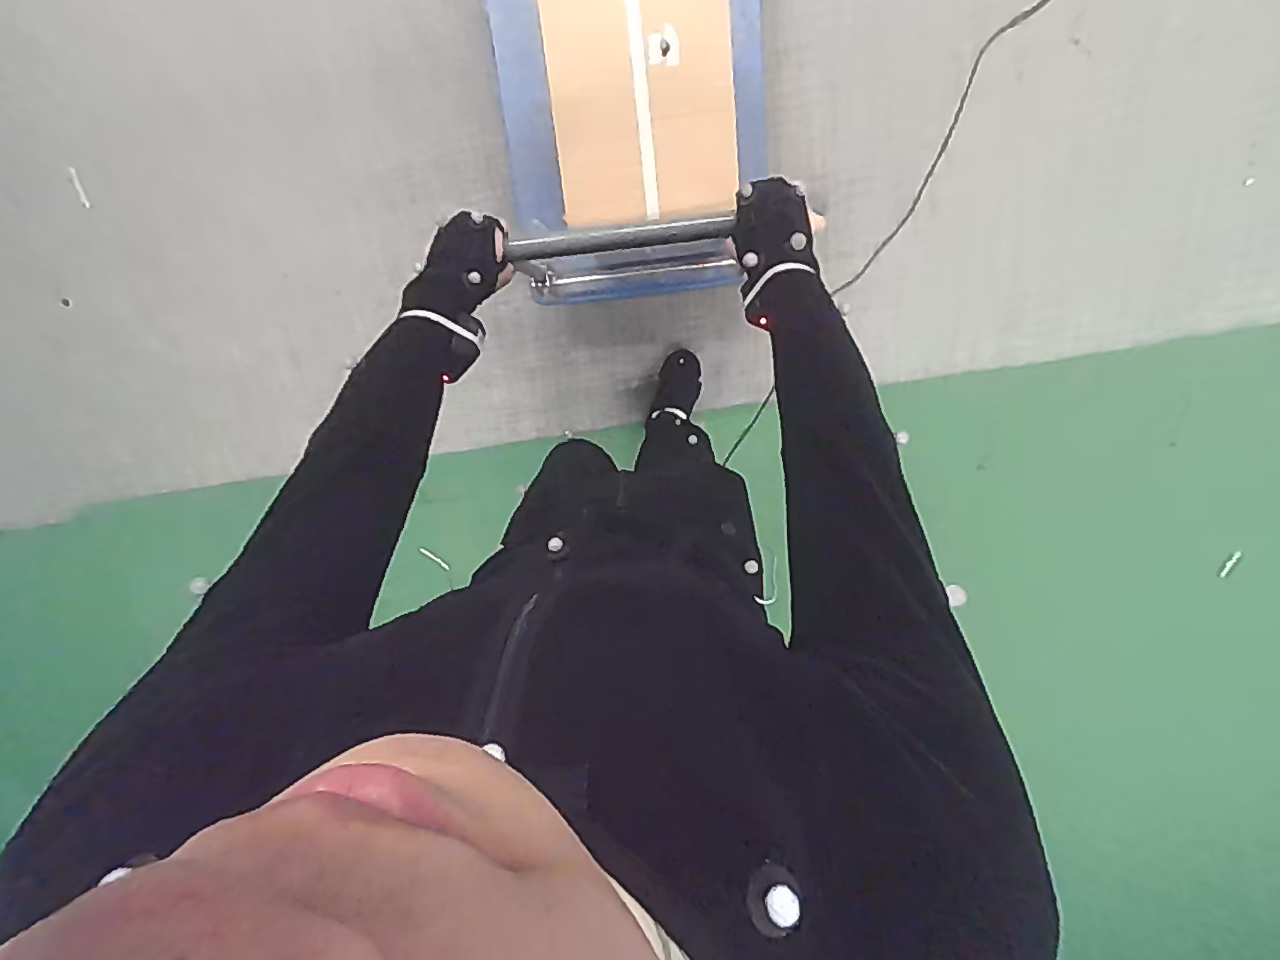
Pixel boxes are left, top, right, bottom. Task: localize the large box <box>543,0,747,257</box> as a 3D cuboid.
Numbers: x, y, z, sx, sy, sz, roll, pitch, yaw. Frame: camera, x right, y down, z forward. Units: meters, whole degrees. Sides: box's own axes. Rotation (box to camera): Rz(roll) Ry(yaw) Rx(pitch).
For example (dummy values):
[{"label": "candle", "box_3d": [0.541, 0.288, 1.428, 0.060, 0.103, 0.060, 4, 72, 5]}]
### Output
[{"label": "large box", "box_3d": [0.024, -0.683, 1.054, 0.320, 0.320, 0.408, -5, 105, 5]}]
